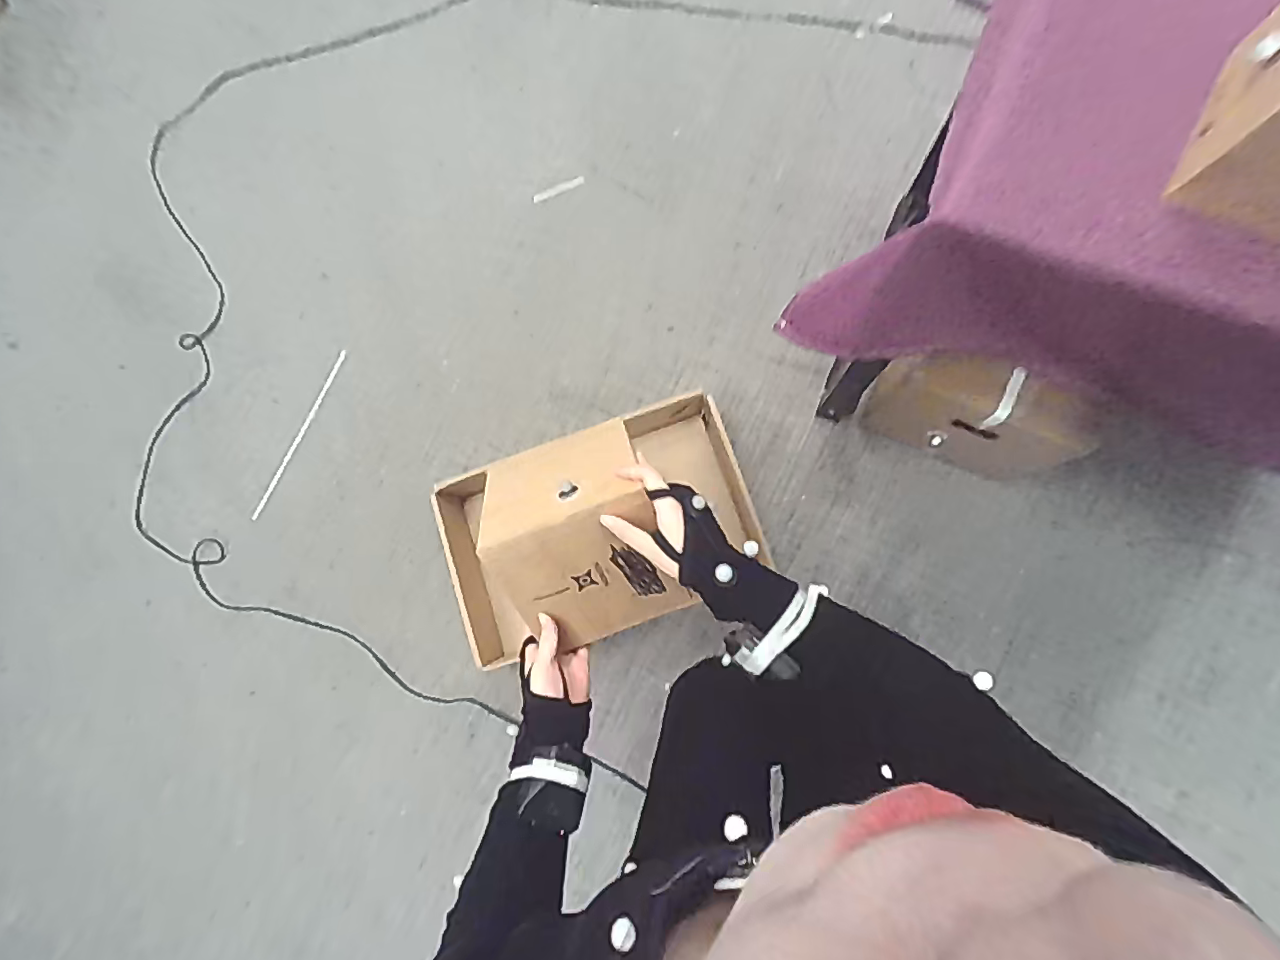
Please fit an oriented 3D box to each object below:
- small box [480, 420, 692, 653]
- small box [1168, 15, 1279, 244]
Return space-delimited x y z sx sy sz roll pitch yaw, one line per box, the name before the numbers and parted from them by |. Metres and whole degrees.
small box | -0.061 0.056 0.613 0.179 0.176 0.168 -21 123 2
small box | 0.576 -0.297 0.408 0.179 0.176 0.168 27 86 11
